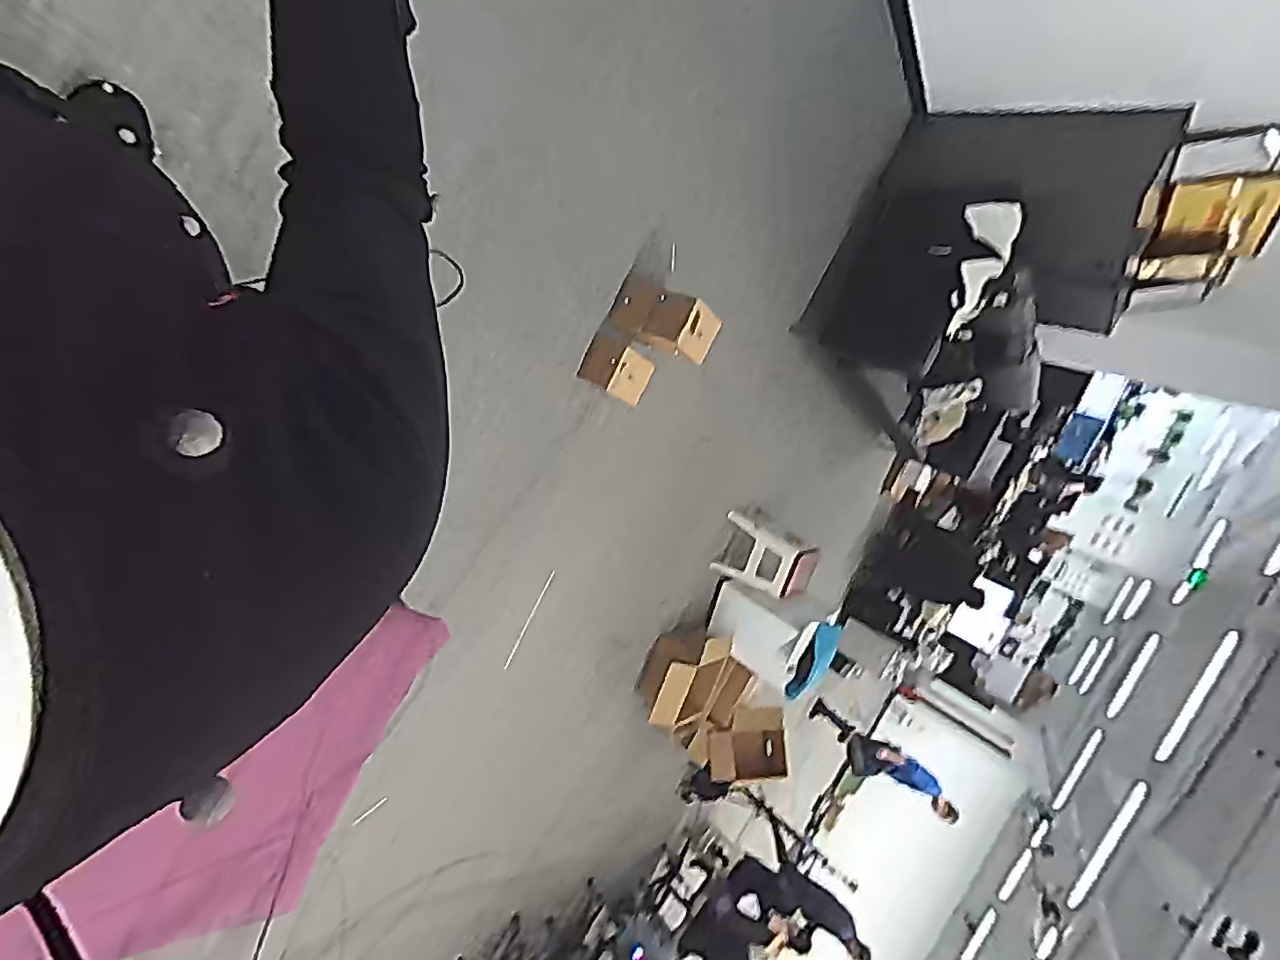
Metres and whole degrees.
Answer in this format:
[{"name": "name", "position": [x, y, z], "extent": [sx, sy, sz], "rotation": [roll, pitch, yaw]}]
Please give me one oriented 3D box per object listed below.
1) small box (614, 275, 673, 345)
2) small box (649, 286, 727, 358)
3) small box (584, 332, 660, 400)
[{"name": "small box", "position": [0.044, -0.611, 1.936], "extent": [0.179, 0.176, 0.168], "rotation": [24, 94, -52]}, {"name": "small box", "position": [0.159, -0.542, 1.842], "extent": [0.179, 0.176, 0.168], "rotation": [23, 96, -53]}, {"name": "small box", "position": [-0.067, -0.413, 1.942], "extent": [0.179, 0.176, 0.168], "rotation": [20, 98, -53]}]
